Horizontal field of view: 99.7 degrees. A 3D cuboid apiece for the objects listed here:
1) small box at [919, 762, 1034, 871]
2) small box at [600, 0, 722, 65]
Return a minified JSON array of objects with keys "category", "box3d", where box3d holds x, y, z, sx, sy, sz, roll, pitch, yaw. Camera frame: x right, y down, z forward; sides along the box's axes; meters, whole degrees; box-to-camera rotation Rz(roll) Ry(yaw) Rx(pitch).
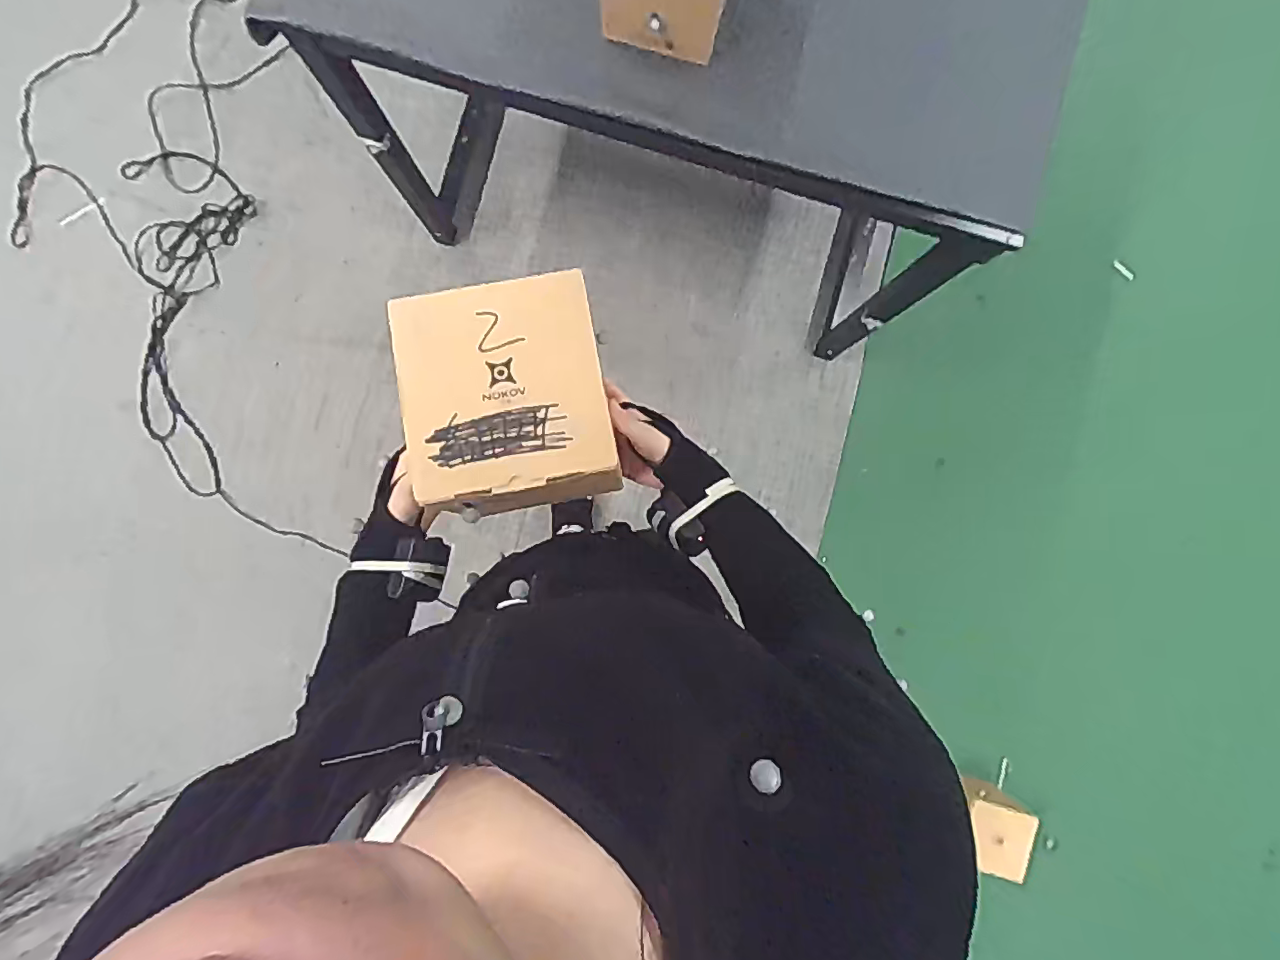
[{"category":"small box","box3d":[0.892,0.889,1.446,0.179,0.176,0.168,17,88,-1]},{"category":"small box","box3d":[0.040,-0.729,0.736,0.168,0.176,0.179,14,87,-1]}]
